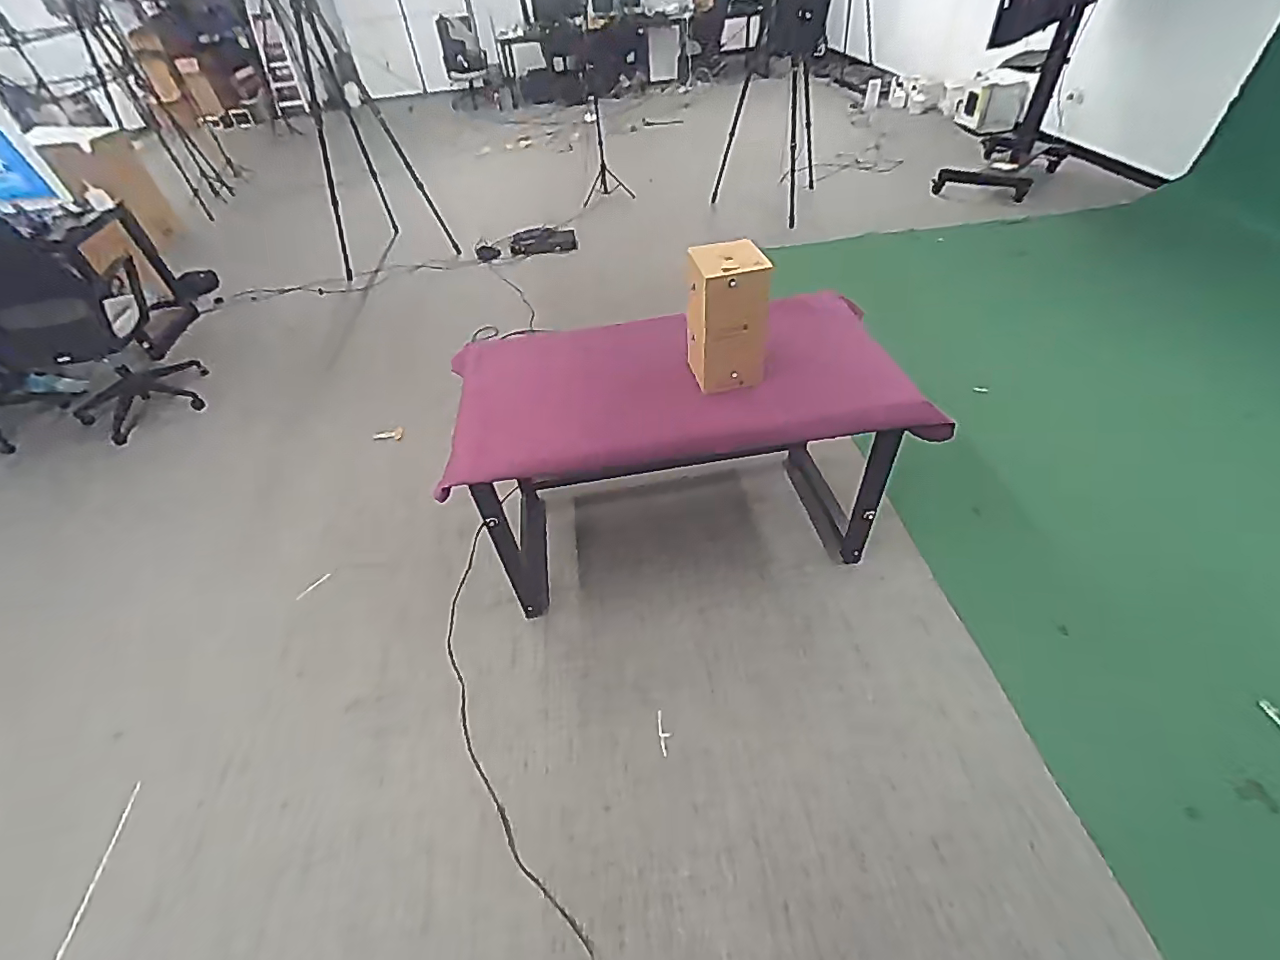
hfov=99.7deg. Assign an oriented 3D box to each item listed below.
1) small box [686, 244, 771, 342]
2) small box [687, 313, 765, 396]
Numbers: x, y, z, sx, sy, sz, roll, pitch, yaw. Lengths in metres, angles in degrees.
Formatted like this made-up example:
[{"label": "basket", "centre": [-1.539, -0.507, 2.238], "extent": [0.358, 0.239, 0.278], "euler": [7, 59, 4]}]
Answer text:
[{"label": "small box", "centre": [0.214, -0.468, 1.355], "extent": [0.168, 0.176, 0.179], "euler": [-12, 45, -5]}, {"label": "small box", "centre": [0.226, -0.352, 1.471], "extent": [0.168, 0.176, 0.179], "euler": [-11, 45, -4]}]
